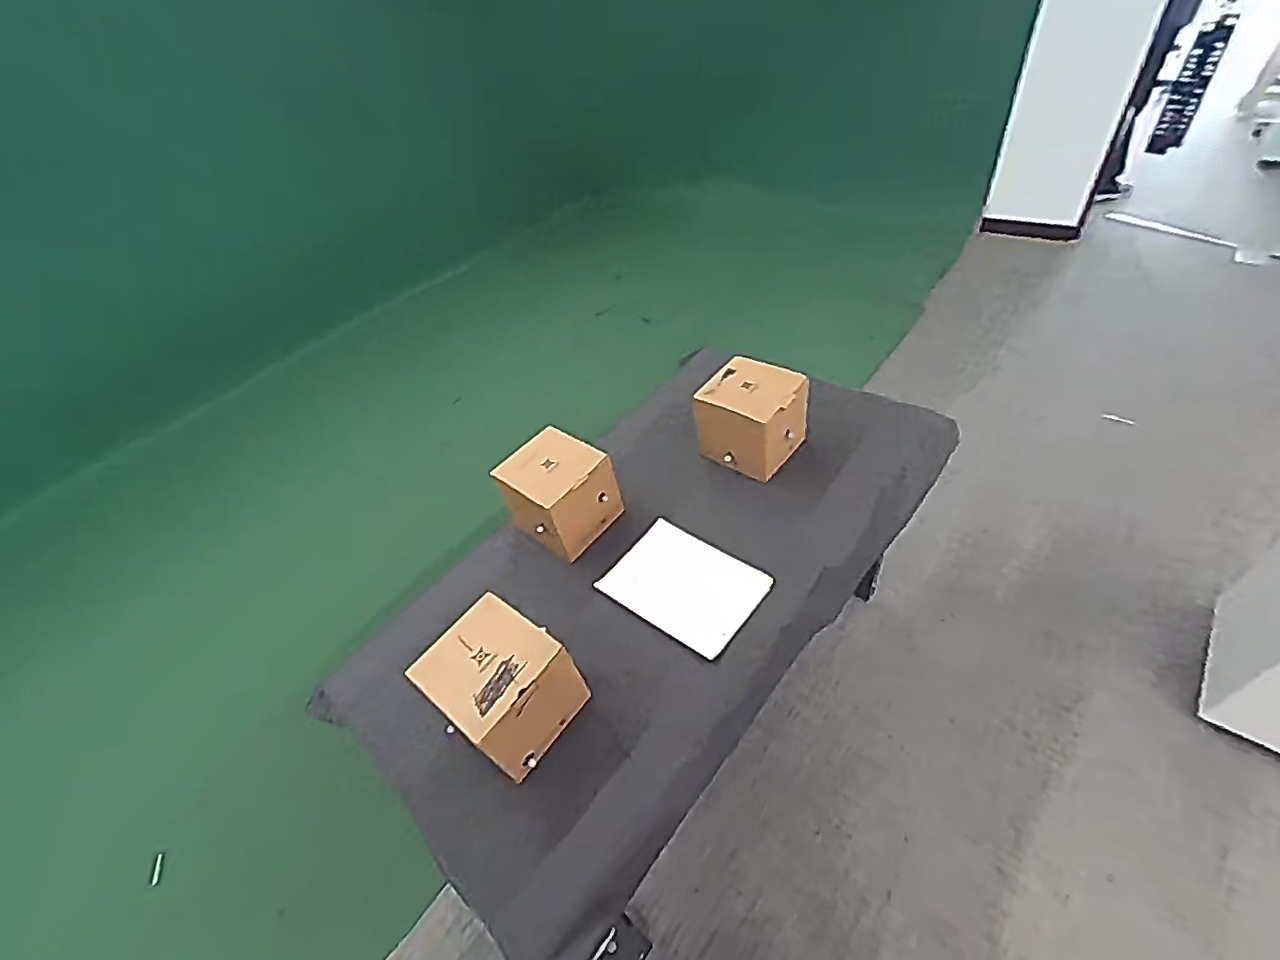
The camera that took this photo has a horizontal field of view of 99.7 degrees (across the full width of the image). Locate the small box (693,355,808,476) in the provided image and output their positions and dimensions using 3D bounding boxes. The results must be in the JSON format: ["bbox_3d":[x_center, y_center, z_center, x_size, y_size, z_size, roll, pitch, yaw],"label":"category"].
[{"bbox_3d":[0.235,-0.134,1.157,0.179,0.176,0.168,28,58,31],"label":"small box"}]

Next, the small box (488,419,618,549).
[{"bbox_3d":[-0.166,0.012,1.085,0.179,0.176,0.168,26,56,32],"label":"small box"}]

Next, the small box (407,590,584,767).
[{"bbox_3d":[-0.211,0.309,0.832,0.179,0.176,0.168,25,56,32],"label":"small box"}]
